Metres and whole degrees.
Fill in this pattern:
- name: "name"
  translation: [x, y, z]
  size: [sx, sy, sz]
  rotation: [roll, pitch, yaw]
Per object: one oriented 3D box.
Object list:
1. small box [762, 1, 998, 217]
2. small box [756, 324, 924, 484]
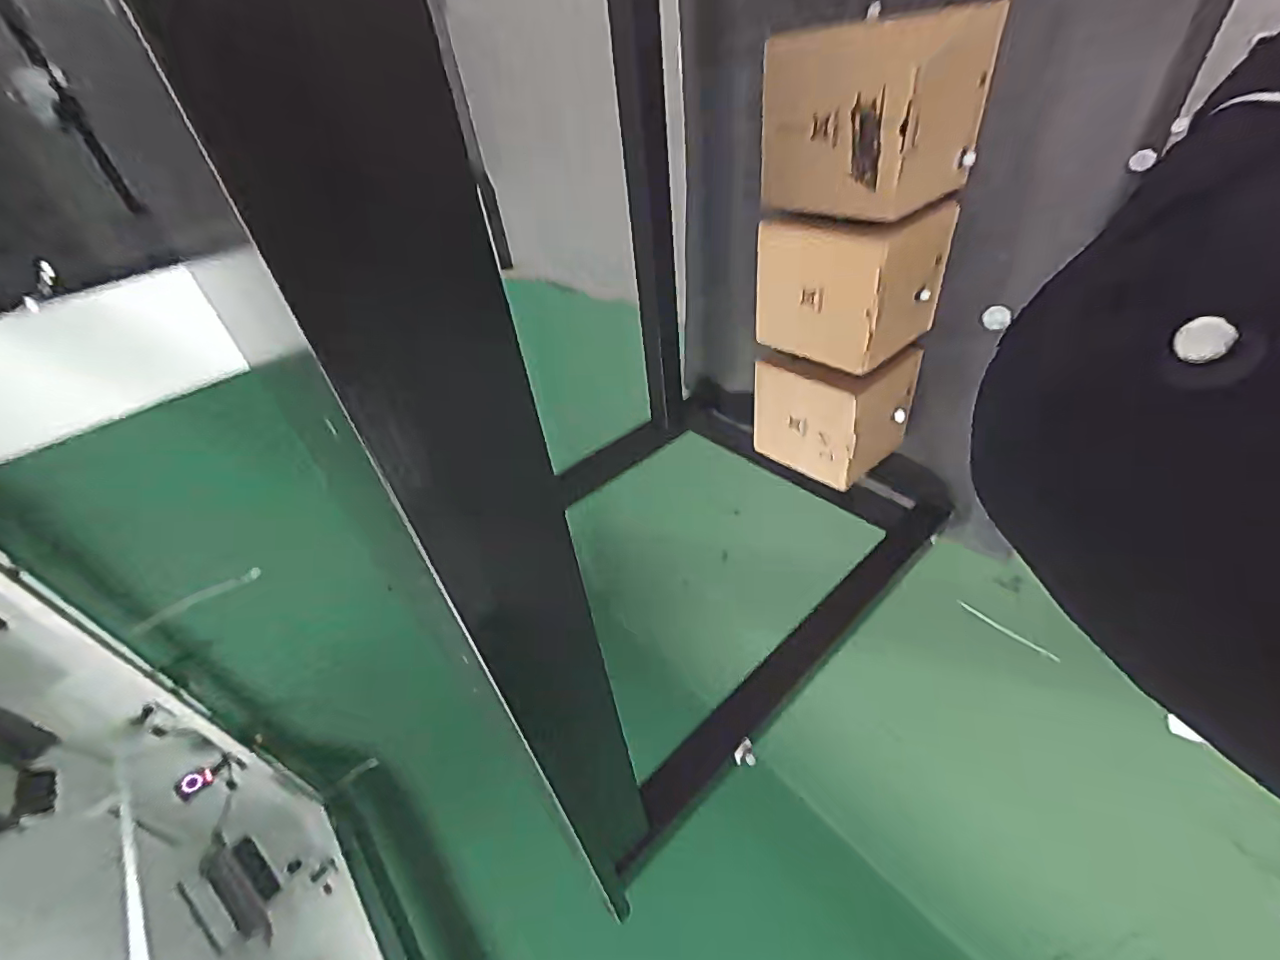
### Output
- name: "small box"
  translation: [0.260, -0.414, 0.607]
  size: [0.179, 0.176, 0.168]
  rotation: [33, 145, 40]
- name: "small box"
  translation: [0.304, -0.128, 0.844]
  size: [0.179, 0.176, 0.168]
  rotation: [32, 145, 40]
